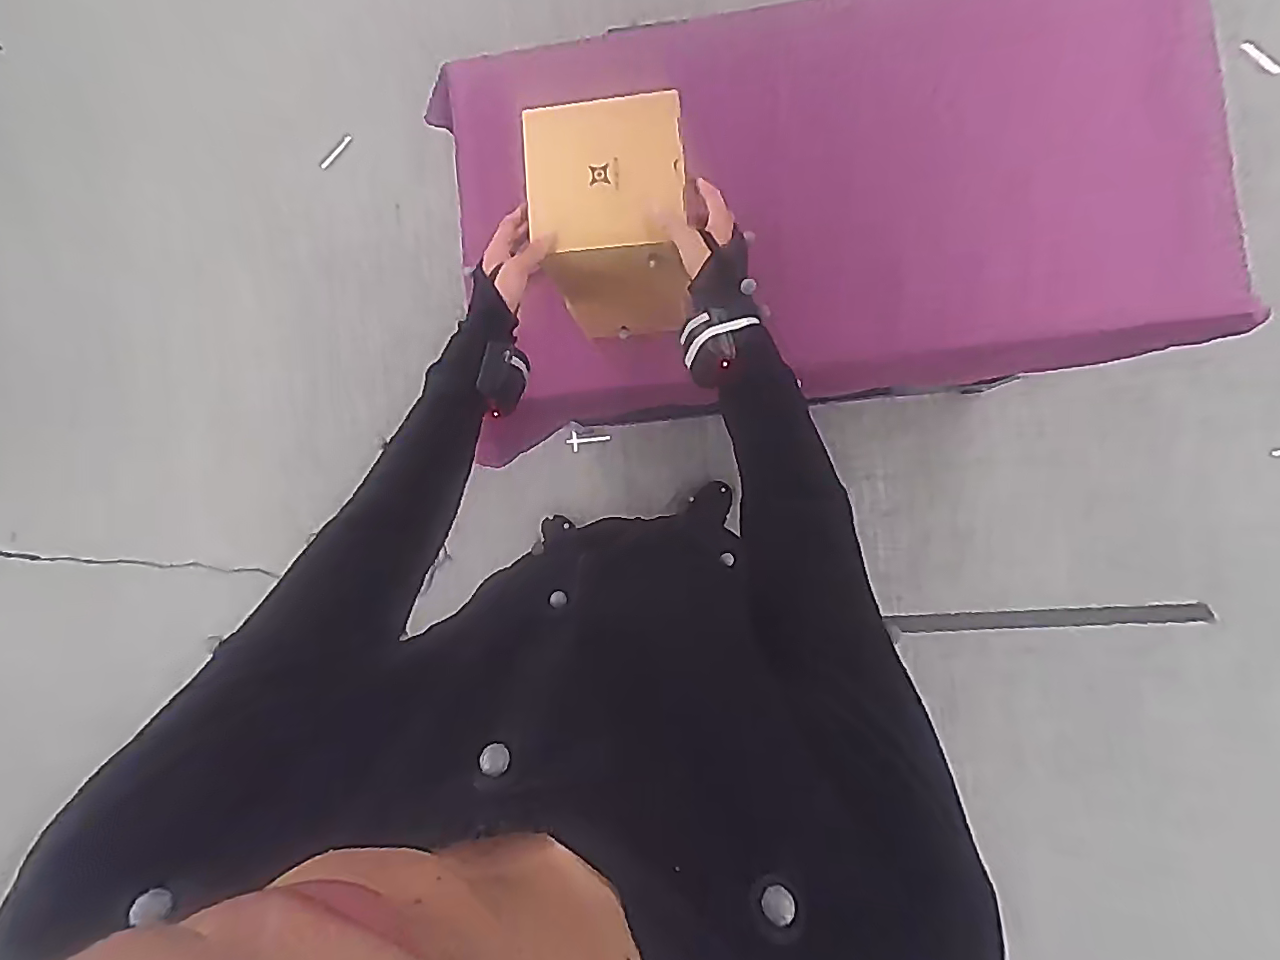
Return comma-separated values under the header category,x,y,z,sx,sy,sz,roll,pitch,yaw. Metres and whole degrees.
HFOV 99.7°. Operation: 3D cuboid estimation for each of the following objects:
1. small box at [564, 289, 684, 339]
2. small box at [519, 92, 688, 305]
category,x,y,z,sx,sy,sz,roll,pitch,yaw
small box,-0.021,-0.328,0.823,0.168,0.176,0.179,-4,89,7
small box,-0.034,-0.325,0.661,0.179,0.176,0.168,-4,89,6
